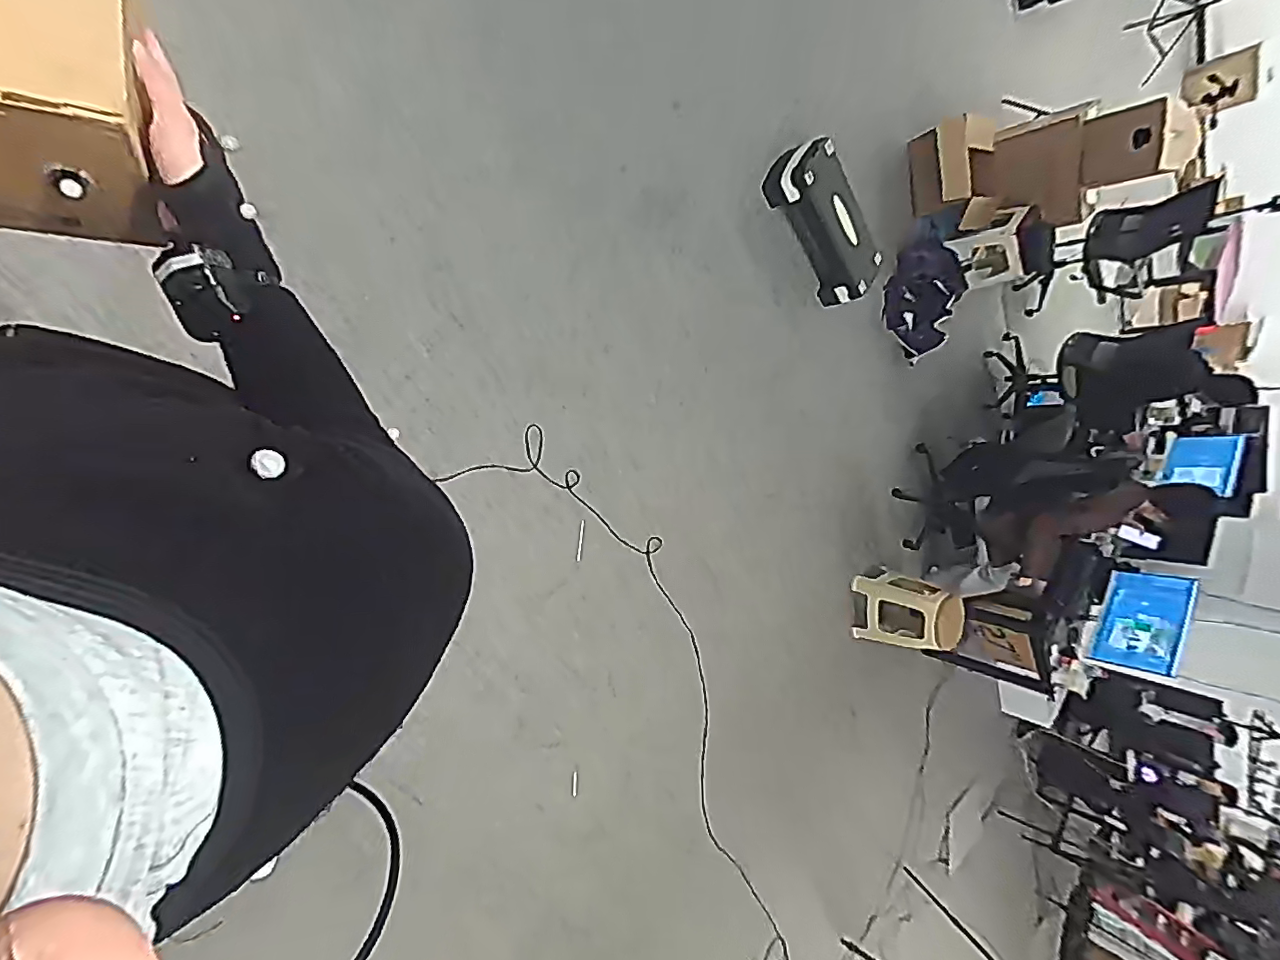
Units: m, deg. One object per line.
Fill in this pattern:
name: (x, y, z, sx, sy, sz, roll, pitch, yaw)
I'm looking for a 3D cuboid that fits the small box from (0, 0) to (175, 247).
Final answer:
small box: (-0.469, -0.304, 0.403, 0.168, 0.176, 0.179, -6, 81, -35)
